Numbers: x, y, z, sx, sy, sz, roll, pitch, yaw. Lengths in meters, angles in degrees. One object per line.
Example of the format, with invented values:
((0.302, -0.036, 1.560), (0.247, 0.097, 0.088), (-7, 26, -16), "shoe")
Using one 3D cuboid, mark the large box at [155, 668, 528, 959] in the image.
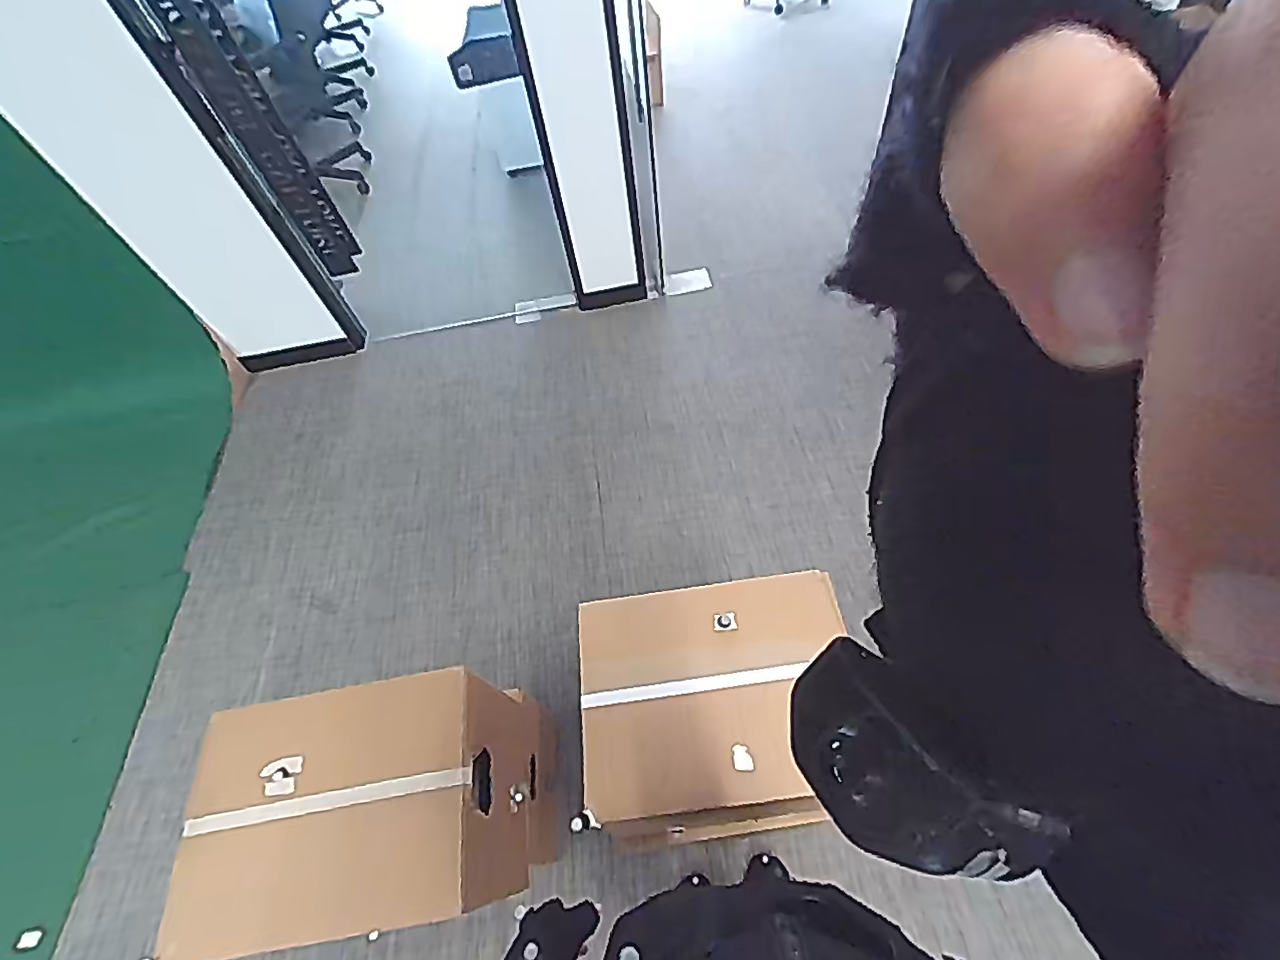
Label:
((-0.427, 0.528, 0.883), (0.408, 0.320, 0.320), (-11, 58, 2), "large box")
